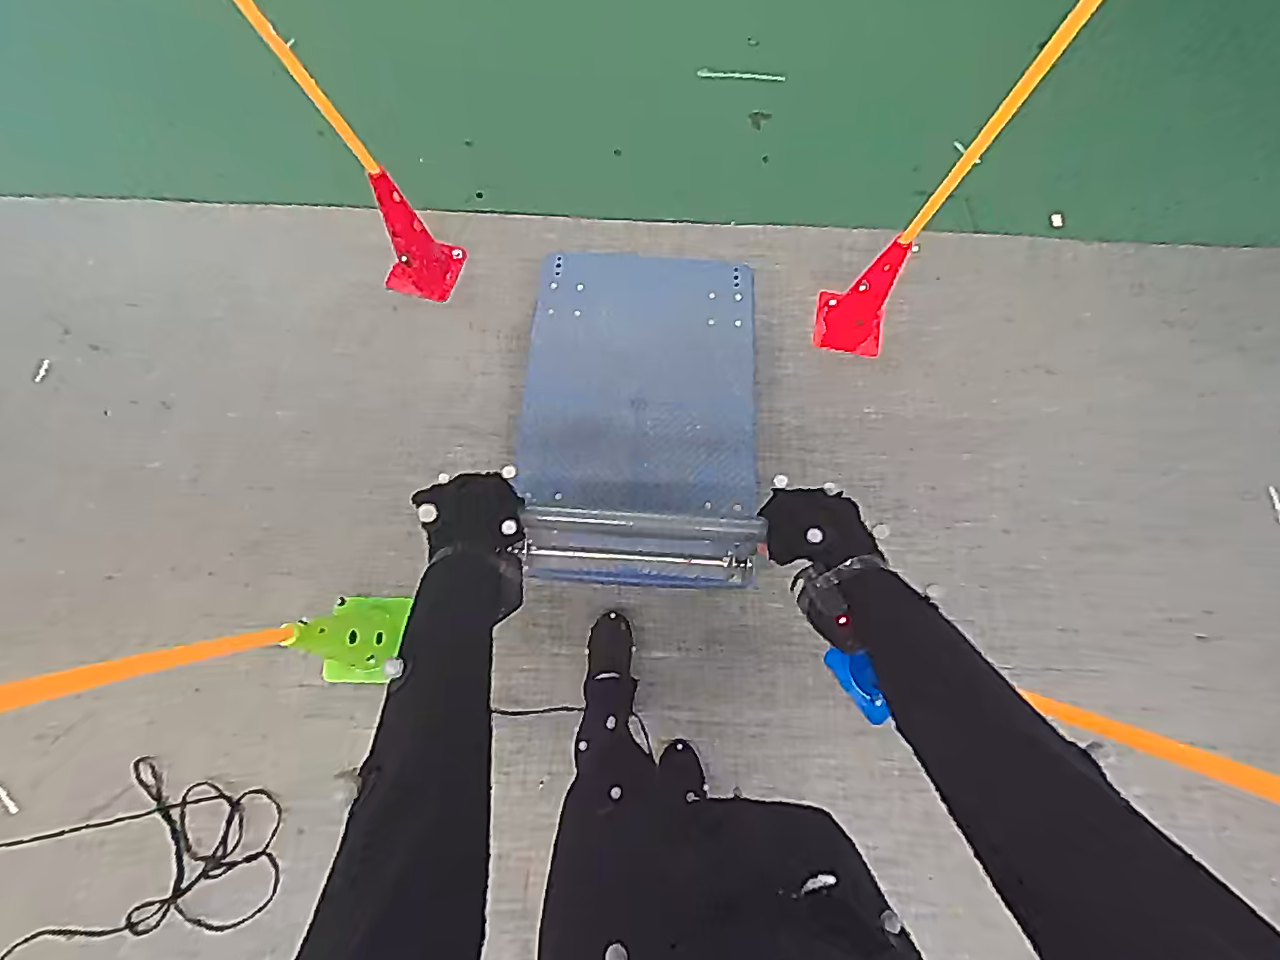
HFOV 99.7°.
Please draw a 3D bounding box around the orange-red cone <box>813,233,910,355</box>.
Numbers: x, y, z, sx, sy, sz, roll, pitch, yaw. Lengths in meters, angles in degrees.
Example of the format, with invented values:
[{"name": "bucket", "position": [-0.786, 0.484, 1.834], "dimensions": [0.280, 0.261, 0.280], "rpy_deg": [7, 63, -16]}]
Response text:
[{"name": "orange-red cone", "position": [0.630, -0.525, 1.466], "dimensions": [0.198, 0.360, 0.199], "rpy_deg": [13, 73, 3]}]
